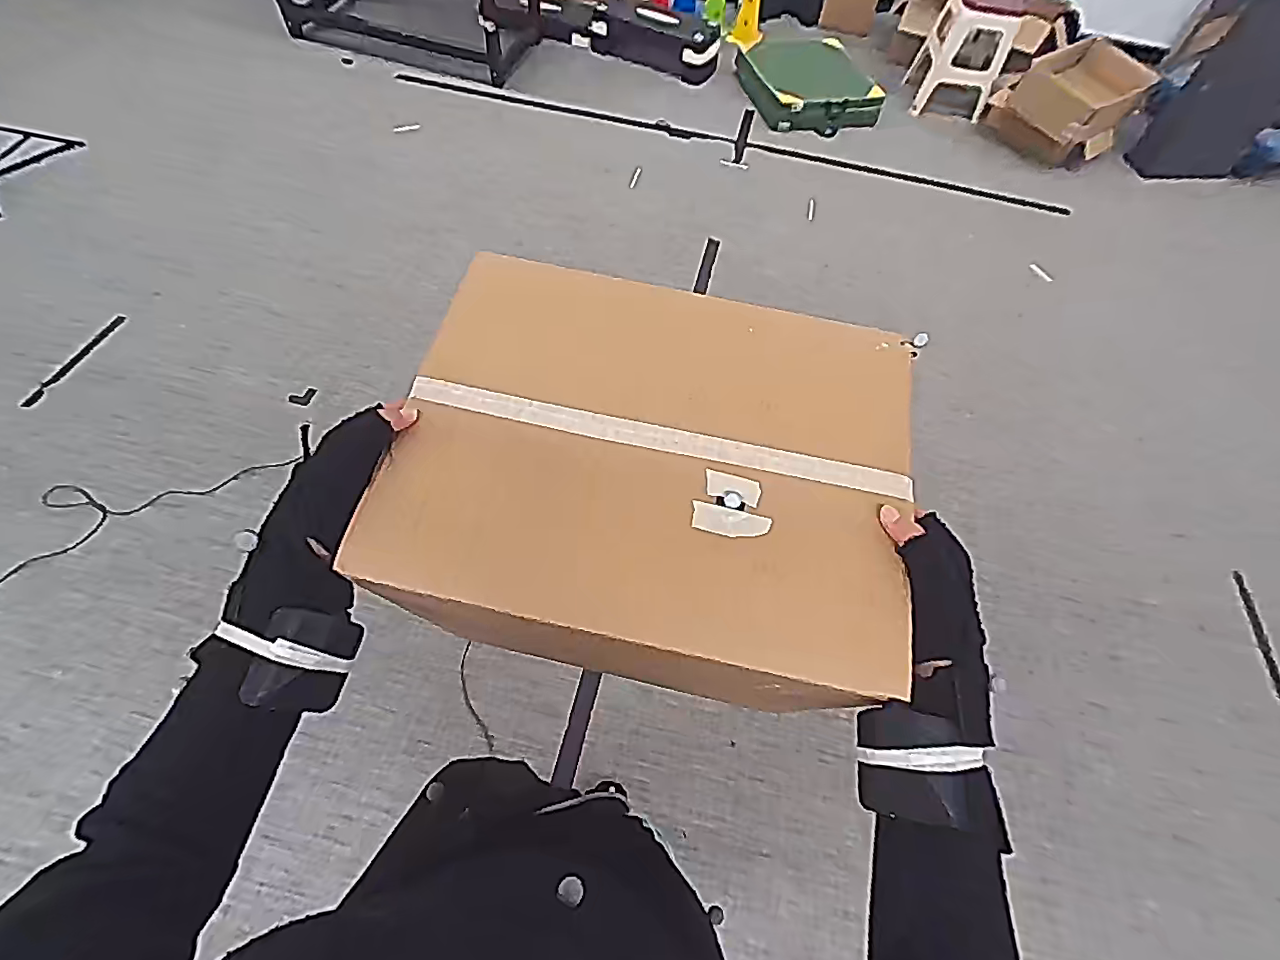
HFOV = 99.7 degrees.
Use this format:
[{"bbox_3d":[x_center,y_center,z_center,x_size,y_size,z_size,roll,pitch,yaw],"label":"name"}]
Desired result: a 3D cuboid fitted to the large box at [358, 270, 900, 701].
[{"bbox_3d":[0.006,0.032,0.581,0.408,0.320,0.320,12,67,2],"label":"large box"}]
